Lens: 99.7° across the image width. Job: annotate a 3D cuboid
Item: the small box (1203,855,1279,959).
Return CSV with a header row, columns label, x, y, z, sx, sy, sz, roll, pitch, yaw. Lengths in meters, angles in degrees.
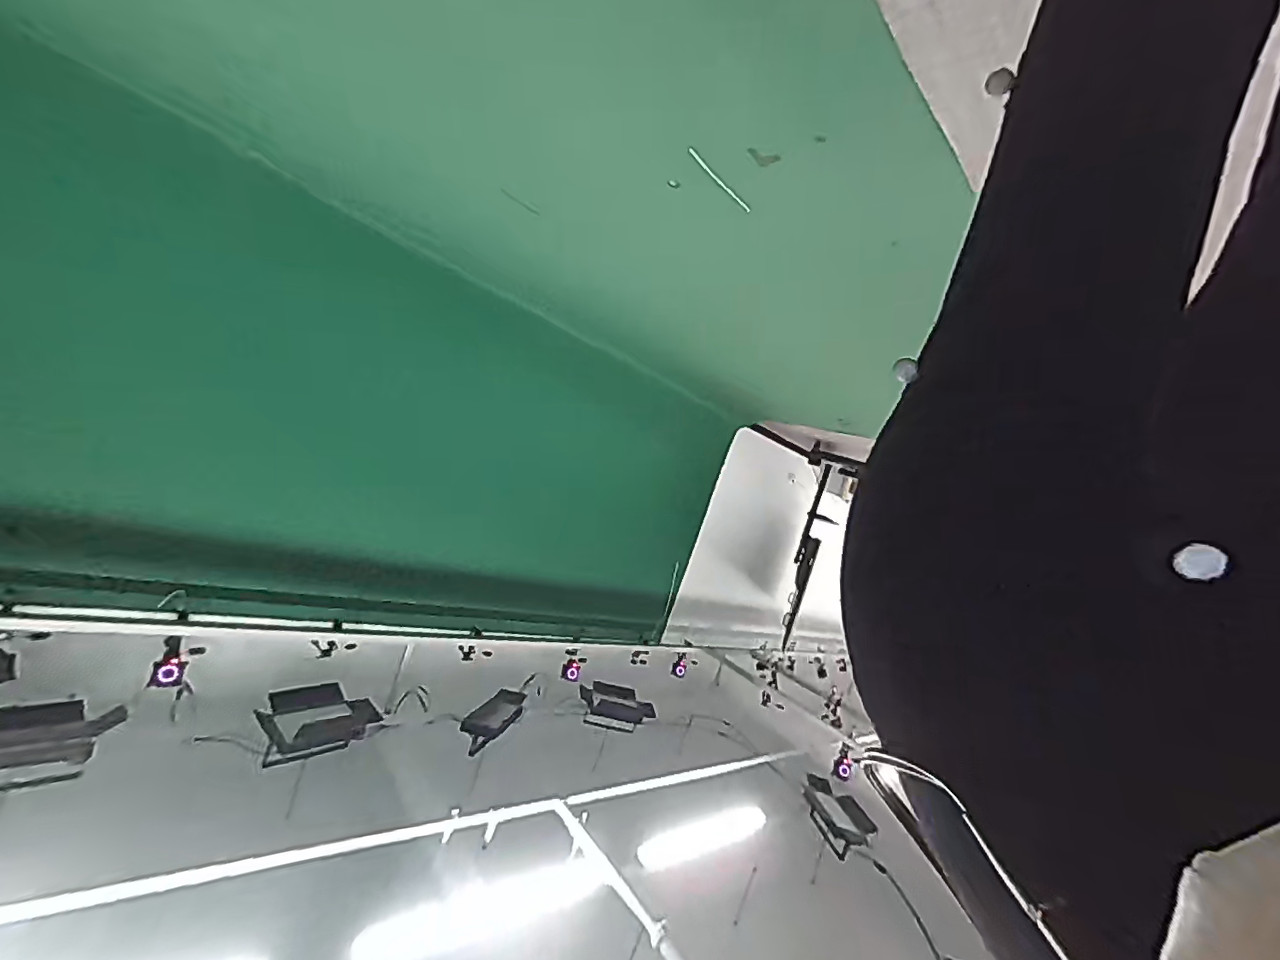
label,x,y,z,sx,sy,sz,roll,pitch,yaw
small box,1.709,1.186,1.494,0.168,0.176,0.179,17,-177,-41
